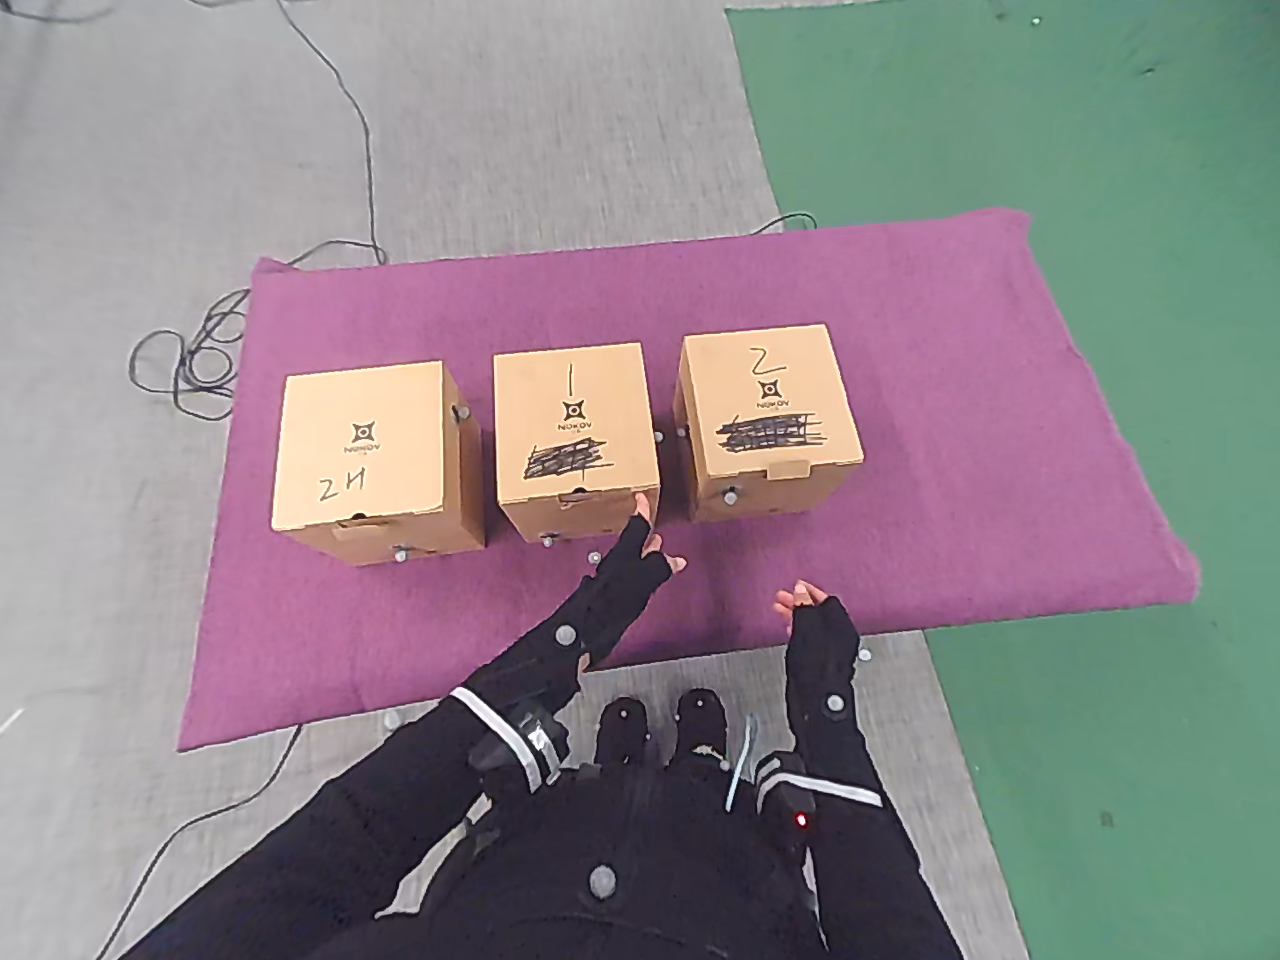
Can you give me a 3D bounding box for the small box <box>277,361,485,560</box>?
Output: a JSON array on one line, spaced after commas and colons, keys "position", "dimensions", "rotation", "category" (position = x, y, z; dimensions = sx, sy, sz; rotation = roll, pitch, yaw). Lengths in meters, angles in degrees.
[{"position": [-0.285, -0.015, 0.636], "dimensions": [0.168, 0.176, 0.179], "rotation": [-7, 70, -3], "category": "small box"}]
